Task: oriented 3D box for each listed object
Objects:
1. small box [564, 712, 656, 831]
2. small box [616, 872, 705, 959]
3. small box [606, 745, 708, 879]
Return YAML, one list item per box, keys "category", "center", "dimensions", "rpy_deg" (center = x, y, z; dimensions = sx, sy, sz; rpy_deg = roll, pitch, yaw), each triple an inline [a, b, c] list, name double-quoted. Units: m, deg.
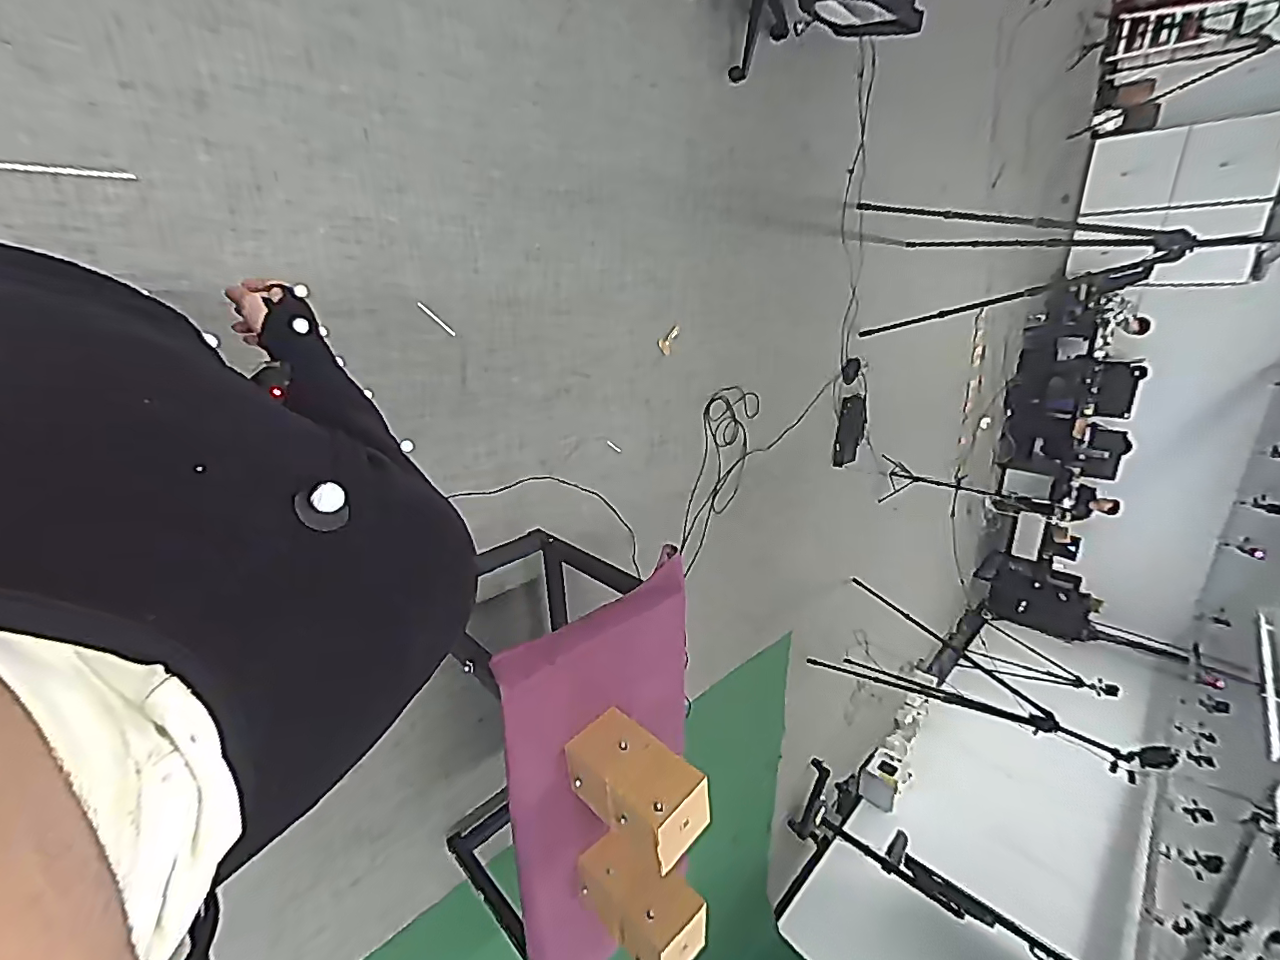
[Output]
- category: "small box"
  center: [-0.073, 0.744, 1.401]
  dimensions: [0.179, 0.176, 0.168]
  rpy_deg: [-23, 118, -39]
- category: "small box"
  center: [0.051, 1.185, 1.429]
  dimensions: [0.179, 0.176, 0.168]
  rpy_deg: [-16, 114, -42]
- category: "small box"
  center: [0.043, 0.781, 1.294]
  dimensions: [0.179, 0.176, 0.168]
  rpy_deg: [-26, 121, -37]
